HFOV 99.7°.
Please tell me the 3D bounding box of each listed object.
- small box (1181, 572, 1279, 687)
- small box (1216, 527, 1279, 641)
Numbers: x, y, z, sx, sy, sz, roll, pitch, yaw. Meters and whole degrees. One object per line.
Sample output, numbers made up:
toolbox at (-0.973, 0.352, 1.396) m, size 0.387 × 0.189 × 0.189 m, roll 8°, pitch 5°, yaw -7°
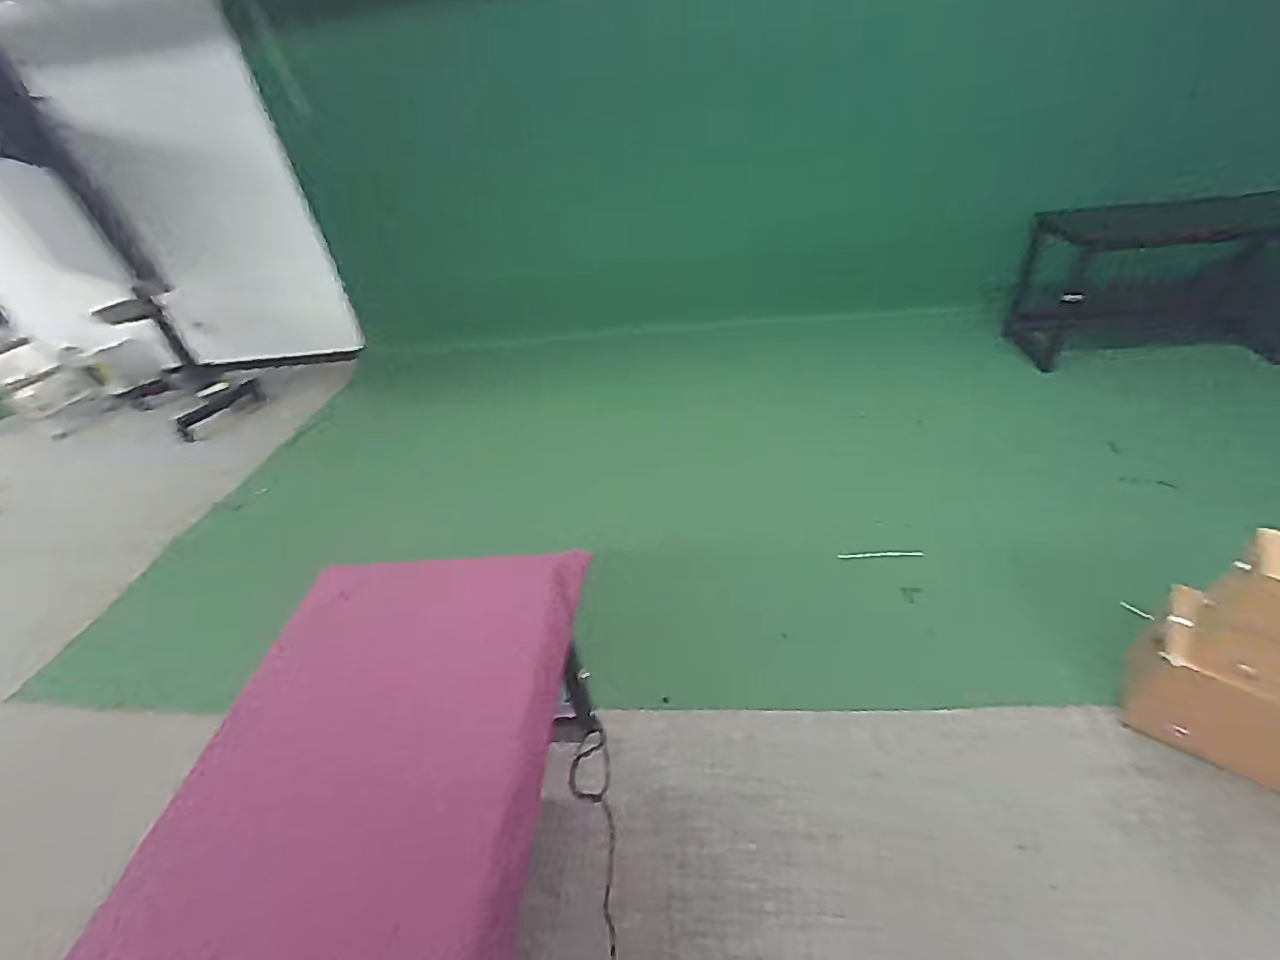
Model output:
small box at (1.480, 0.366, 1.329) m, size 0.168 × 0.176 × 0.179 m, roll 21°, pitch 47°, yaw 33°
small box at (1.456, 0.243, 1.222) m, size 0.168 × 0.176 × 0.179 m, roll 21°, pitch 46°, yaw 32°
